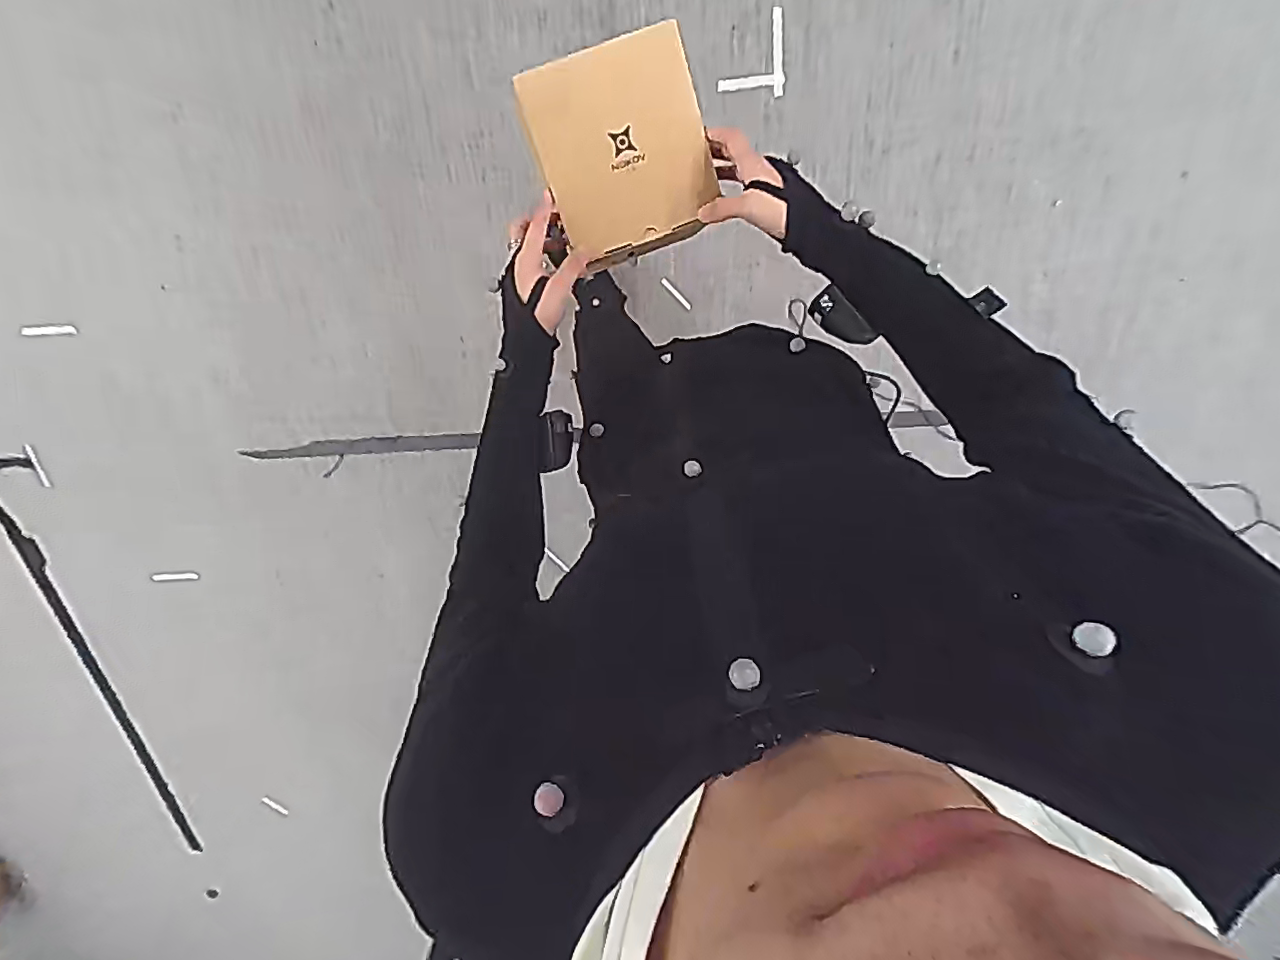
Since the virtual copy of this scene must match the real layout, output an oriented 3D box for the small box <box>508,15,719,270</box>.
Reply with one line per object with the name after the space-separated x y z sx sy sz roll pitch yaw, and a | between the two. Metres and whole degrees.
-0.031 -0.352 0.602 0.168 0.176 0.179 -20 108 0 | small box
